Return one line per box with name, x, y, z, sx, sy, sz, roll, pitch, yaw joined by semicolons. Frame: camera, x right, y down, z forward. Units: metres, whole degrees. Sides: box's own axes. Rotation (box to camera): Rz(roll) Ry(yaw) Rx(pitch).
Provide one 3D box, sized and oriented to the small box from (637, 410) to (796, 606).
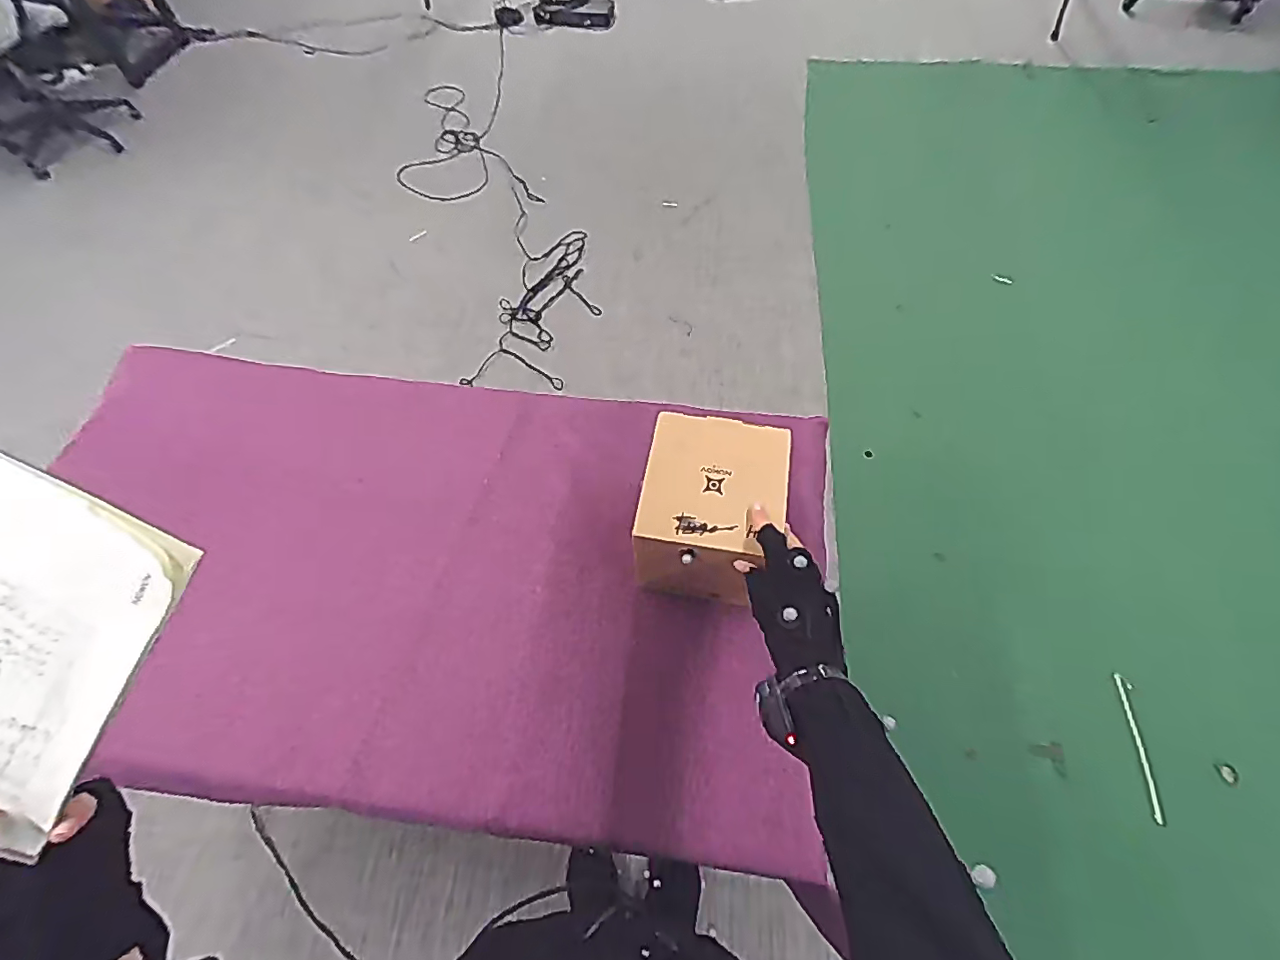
small box;0.094;0.039;0.689;0.168;0.176;0.179;9;59;8
